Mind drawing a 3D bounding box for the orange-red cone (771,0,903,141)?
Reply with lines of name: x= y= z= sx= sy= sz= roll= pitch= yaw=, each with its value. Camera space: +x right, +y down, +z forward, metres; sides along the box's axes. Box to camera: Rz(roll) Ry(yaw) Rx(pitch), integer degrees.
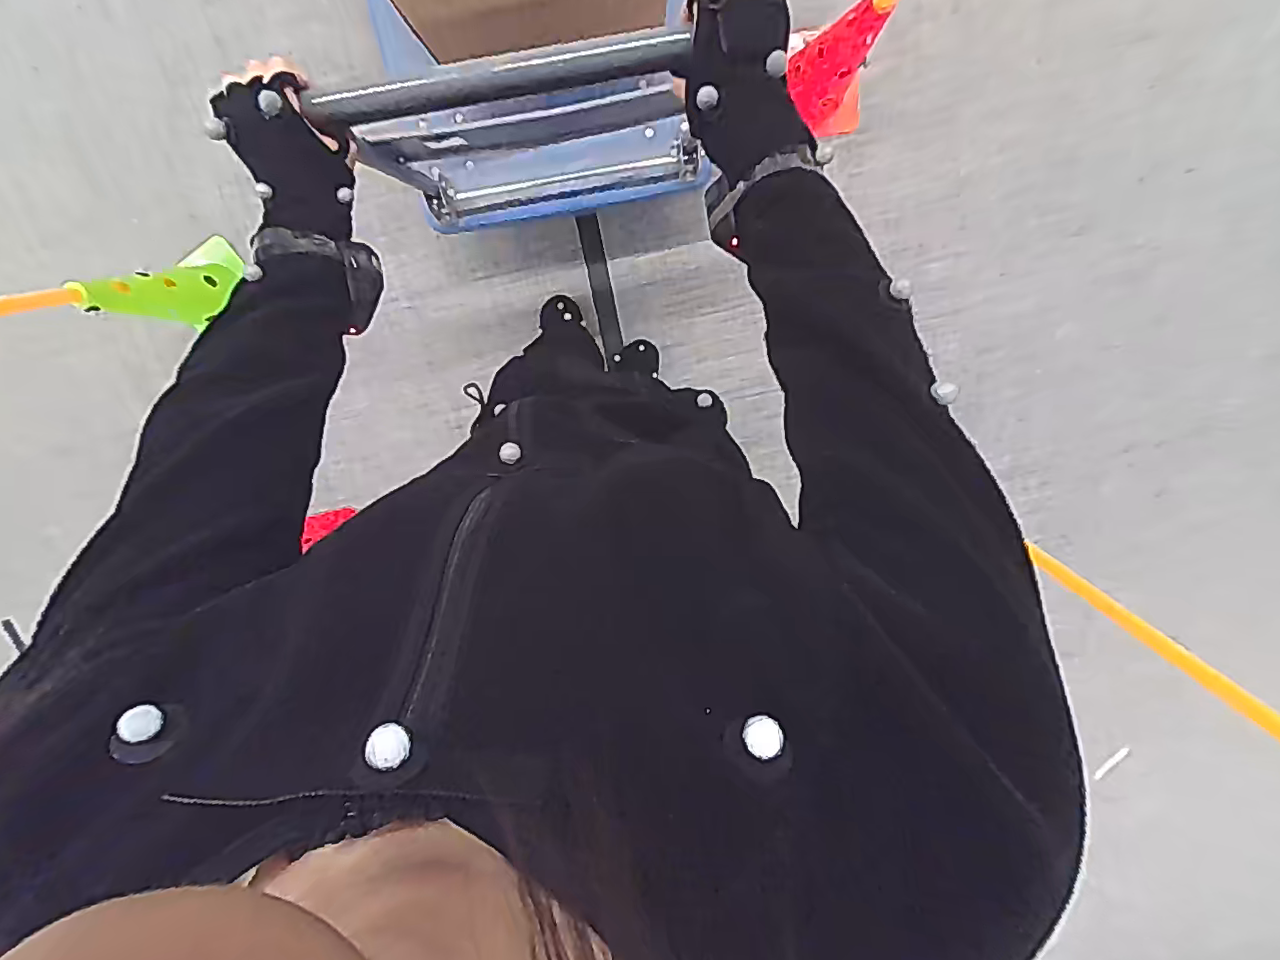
orange-red cone: x=0.390 y=-0.799 z=1.009 sx=0.199 sy=0.360 sz=0.198 roll=-6 pitch=108 yaw=-1
